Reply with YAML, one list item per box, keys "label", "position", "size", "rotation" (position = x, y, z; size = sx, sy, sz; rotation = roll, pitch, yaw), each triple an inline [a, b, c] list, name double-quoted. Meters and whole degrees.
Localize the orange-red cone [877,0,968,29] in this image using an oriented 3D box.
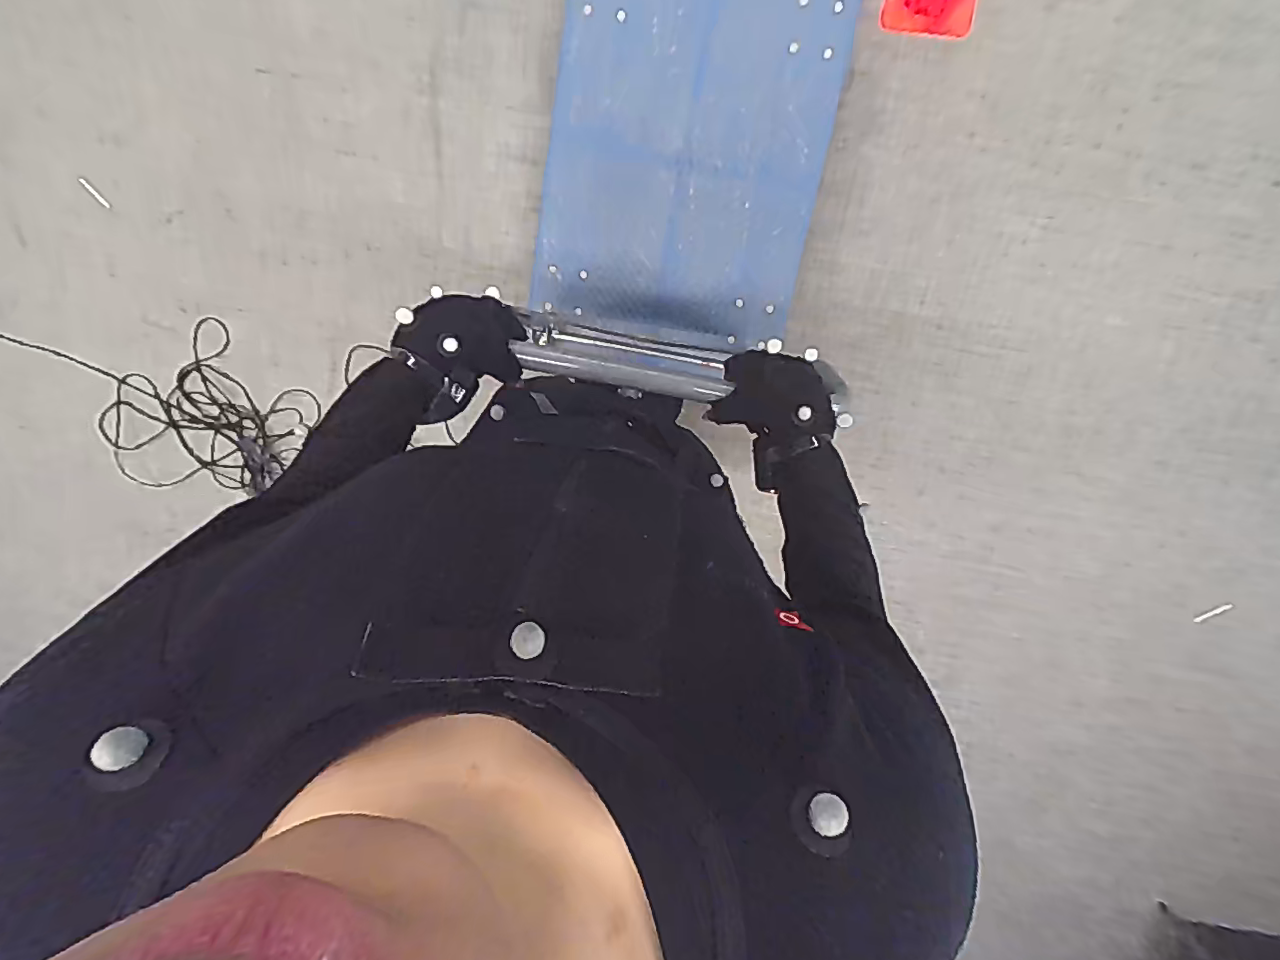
- label: "orange-red cone"
  position: [0.627, -1.077, 1.025]
  size: [0.199, 0.360, 0.198]
  rotation: [9, 103, 3]
